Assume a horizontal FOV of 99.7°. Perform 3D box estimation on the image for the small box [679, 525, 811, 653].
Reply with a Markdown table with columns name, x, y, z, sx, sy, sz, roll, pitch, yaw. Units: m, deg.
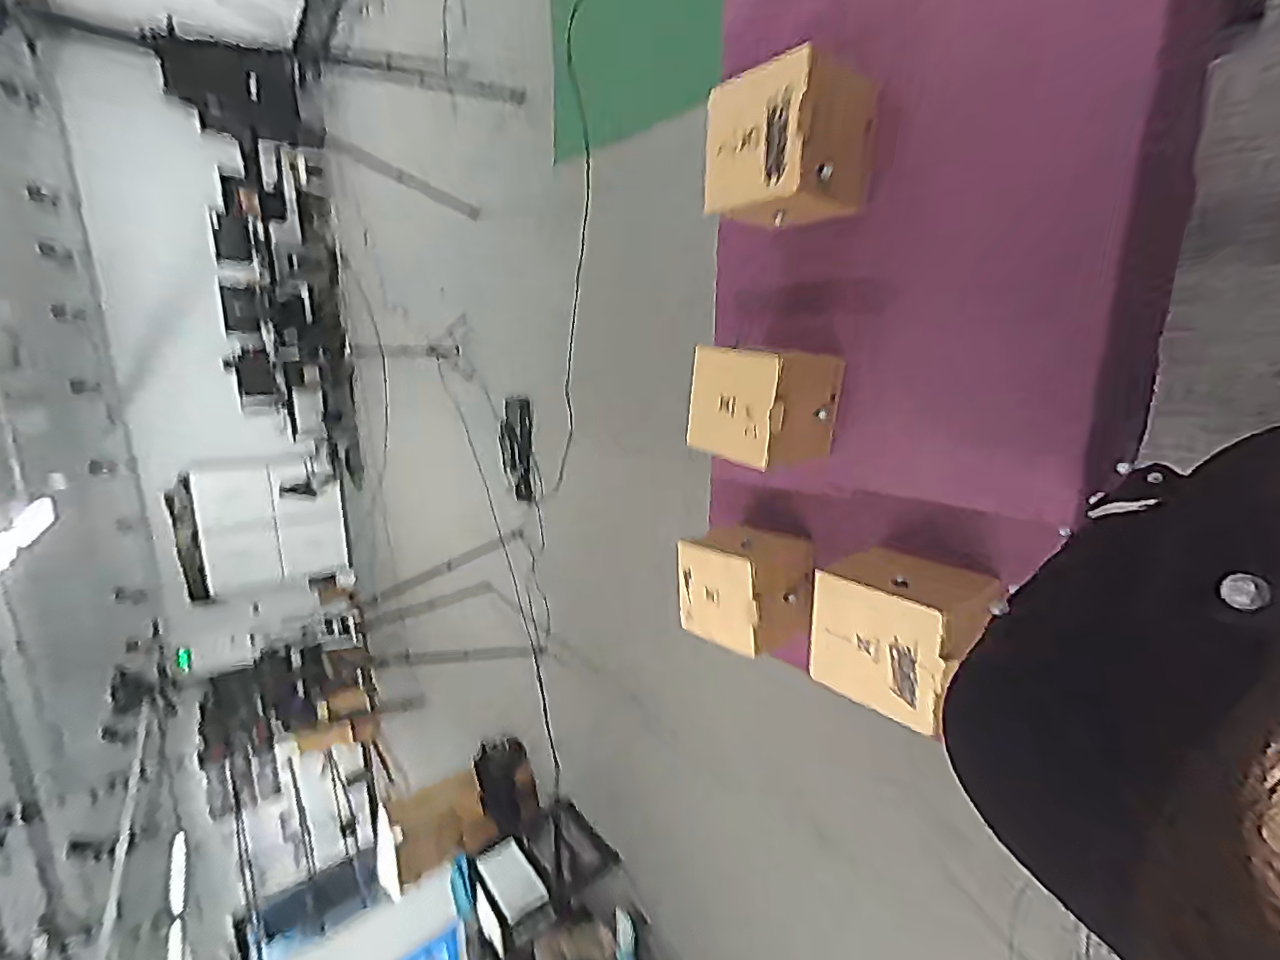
| name | x | y | z | sx | sy | sz | roll | pitch | yaw |
| --- | --- | --- | --- | --- | --- | --- | --- | --- | --- |
| small box | 0.192 | 0.185 | 0.980 | 0.179 | 0.176 | 0.168 | 8 | 103 | 50 |

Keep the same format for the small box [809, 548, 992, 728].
| name | x | y | z | sx | sy | sz | roll | pitch | yaw |
| --- | --- | --- | --- | --- | --- | --- | --- | --- | --- |
| small box | 0.365 | 0.204 | 0.762 | 0.179 | 0.176 | 0.168 | 14 | 108 | 52 |

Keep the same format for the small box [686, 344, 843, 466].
| name | x | y | z | sx | sy | sz | roll | pitch | yaw |
| --- | --- | --- | --- | --- | --- | --- | --- | --- | --- |
| small box | 0.202 | -0.131 | 0.897 | 0.179 | 0.176 | 0.168 | 24 | 117 | 47 |
